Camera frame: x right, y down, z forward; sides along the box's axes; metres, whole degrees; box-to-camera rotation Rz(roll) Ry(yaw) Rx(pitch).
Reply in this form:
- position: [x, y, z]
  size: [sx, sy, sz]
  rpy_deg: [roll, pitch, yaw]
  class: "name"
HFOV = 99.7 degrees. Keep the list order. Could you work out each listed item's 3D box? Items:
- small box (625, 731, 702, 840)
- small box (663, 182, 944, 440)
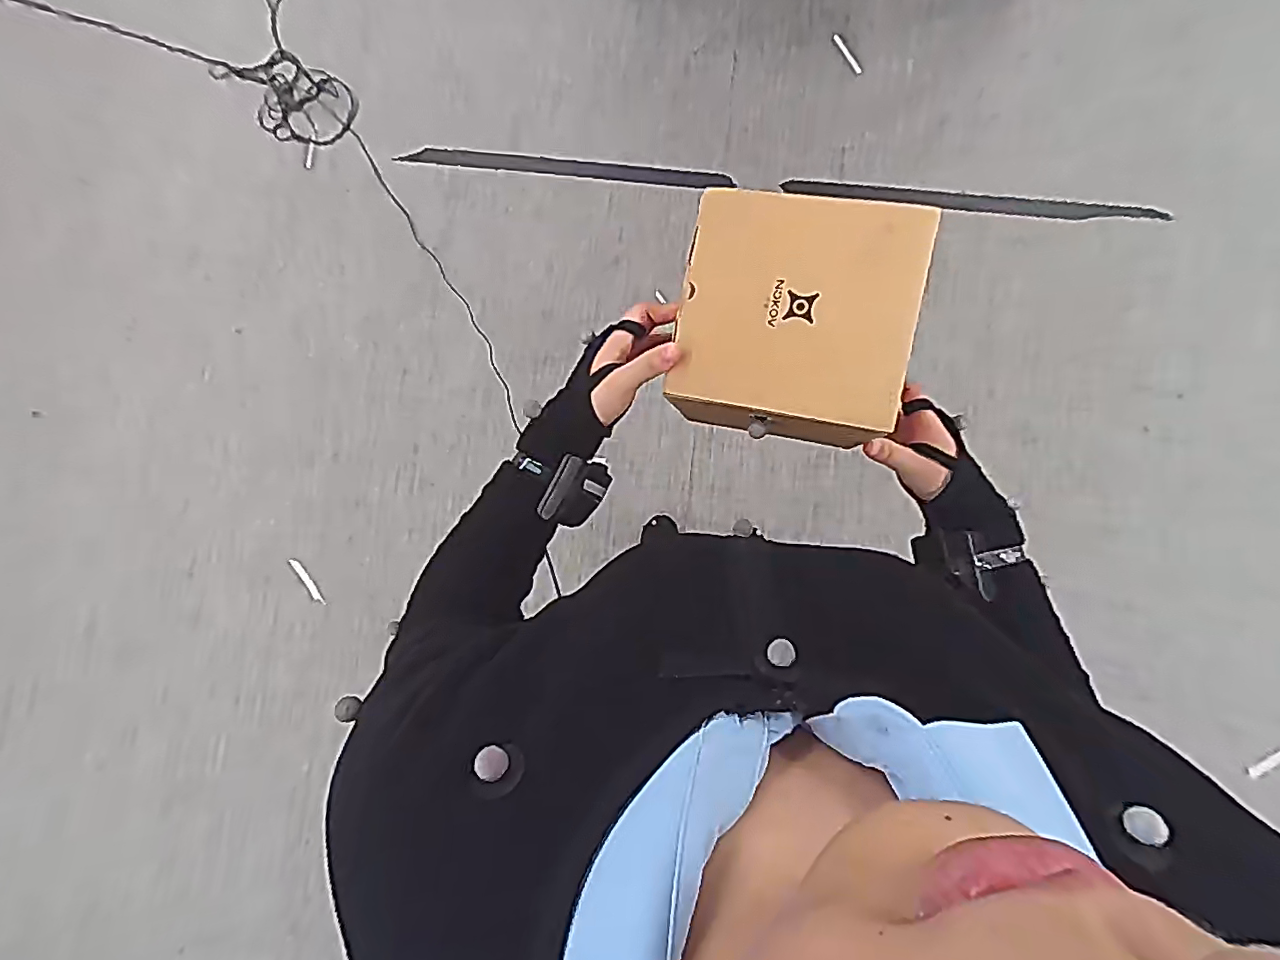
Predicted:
- position: [0.062, 0.772, 1.387]
  size: [0.168, 0.176, 0.179]
  rpy_deg: [9, 87, 5]
  class: "small box"
- position: [0.133, -0.132, 0.480]
  size: [0.179, 0.176, 0.168]
  rpy_deg: [12, 92, 13]
  class: "small box"
